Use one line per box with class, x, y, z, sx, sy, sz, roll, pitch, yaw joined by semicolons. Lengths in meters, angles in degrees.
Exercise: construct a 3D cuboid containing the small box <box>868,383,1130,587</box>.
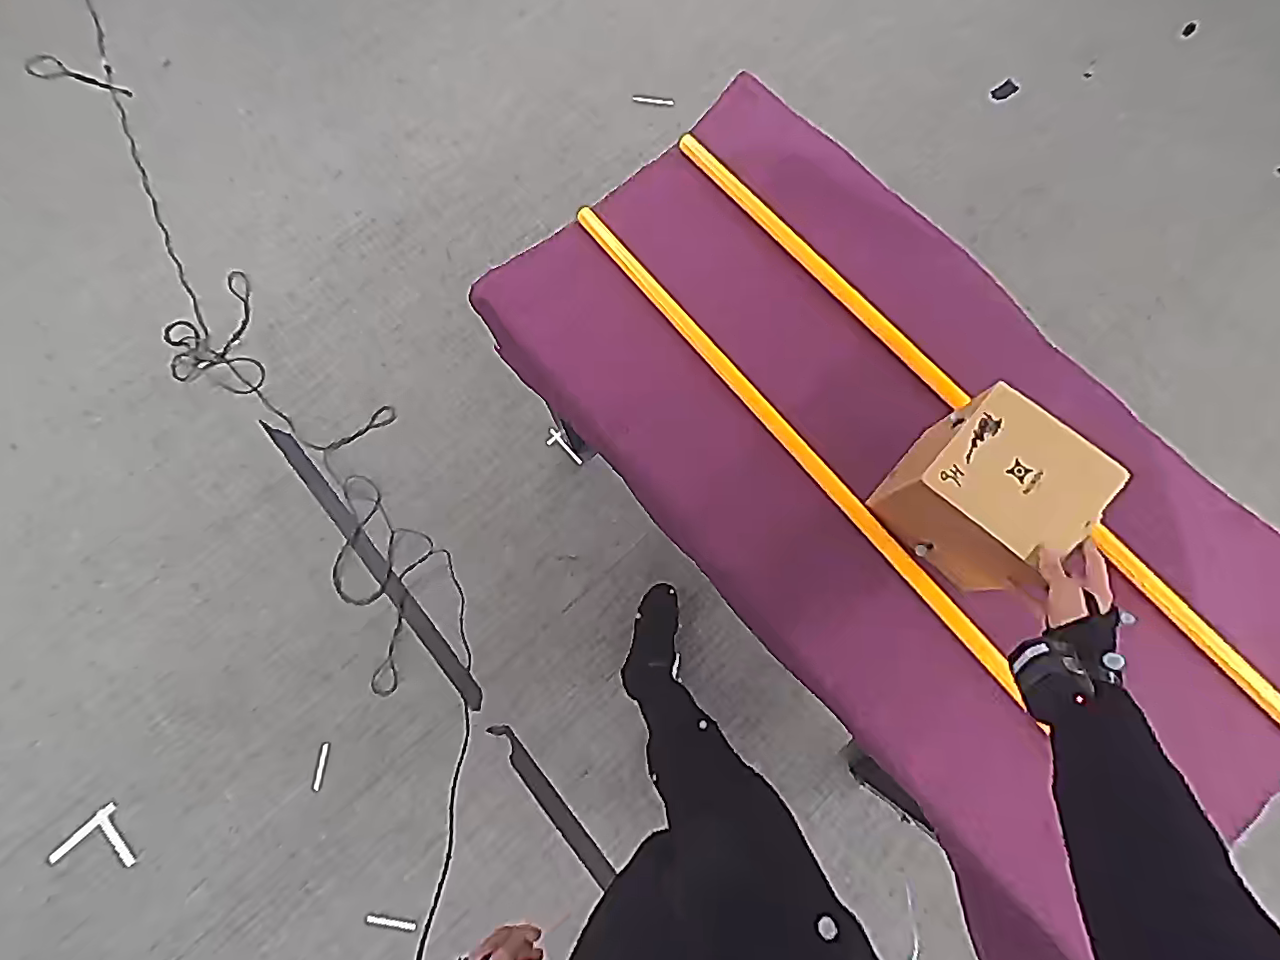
small box;0.430;0.016;0.679;0.179;0.176;0.168;42;80;9
